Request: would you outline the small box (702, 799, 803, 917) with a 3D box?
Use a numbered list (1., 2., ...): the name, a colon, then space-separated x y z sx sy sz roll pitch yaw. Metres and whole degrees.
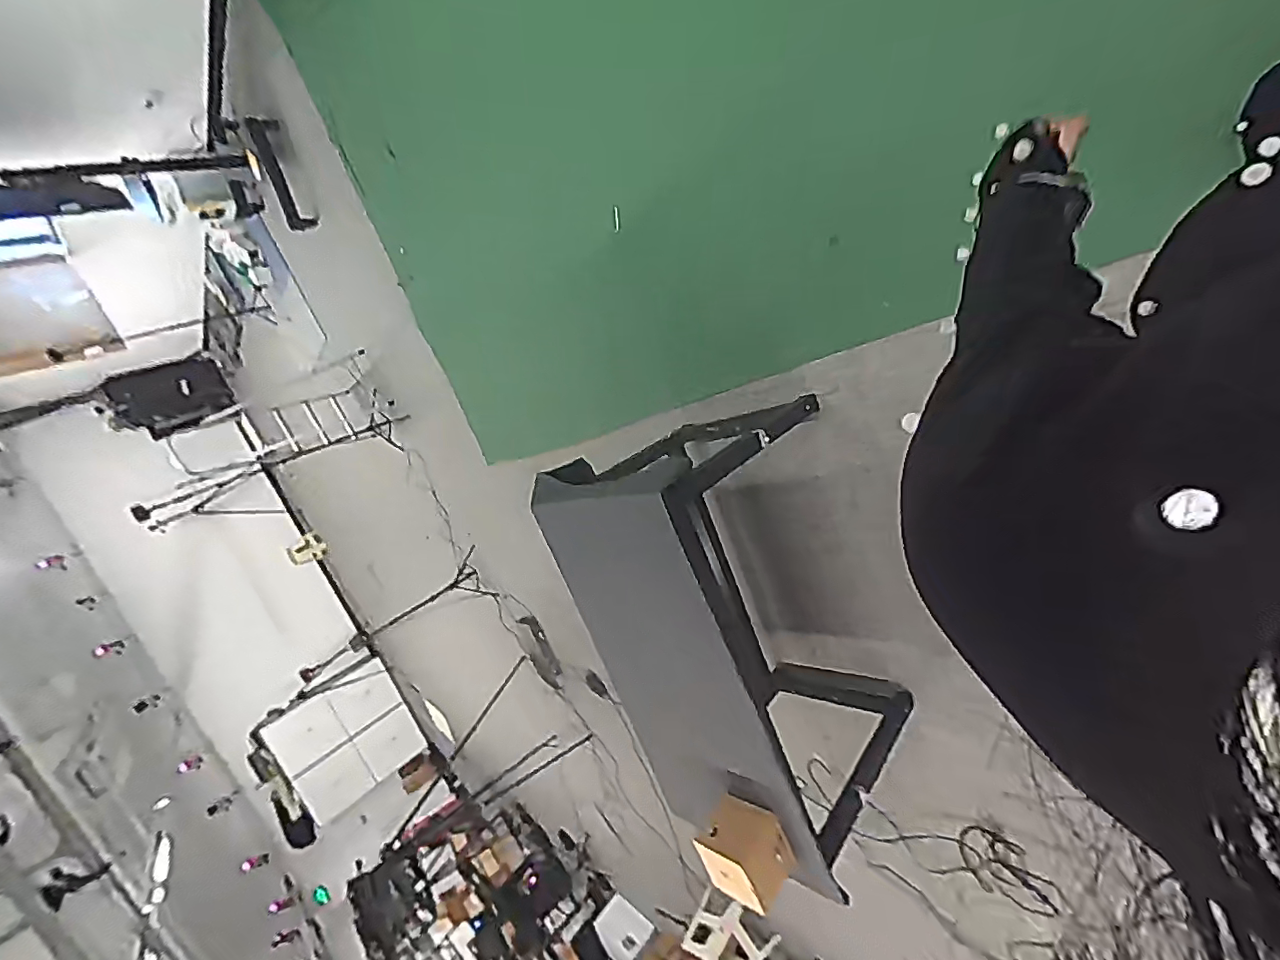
1. small box: 0.305 1.003 1.456 0.179 0.176 0.168 -13 105 50
